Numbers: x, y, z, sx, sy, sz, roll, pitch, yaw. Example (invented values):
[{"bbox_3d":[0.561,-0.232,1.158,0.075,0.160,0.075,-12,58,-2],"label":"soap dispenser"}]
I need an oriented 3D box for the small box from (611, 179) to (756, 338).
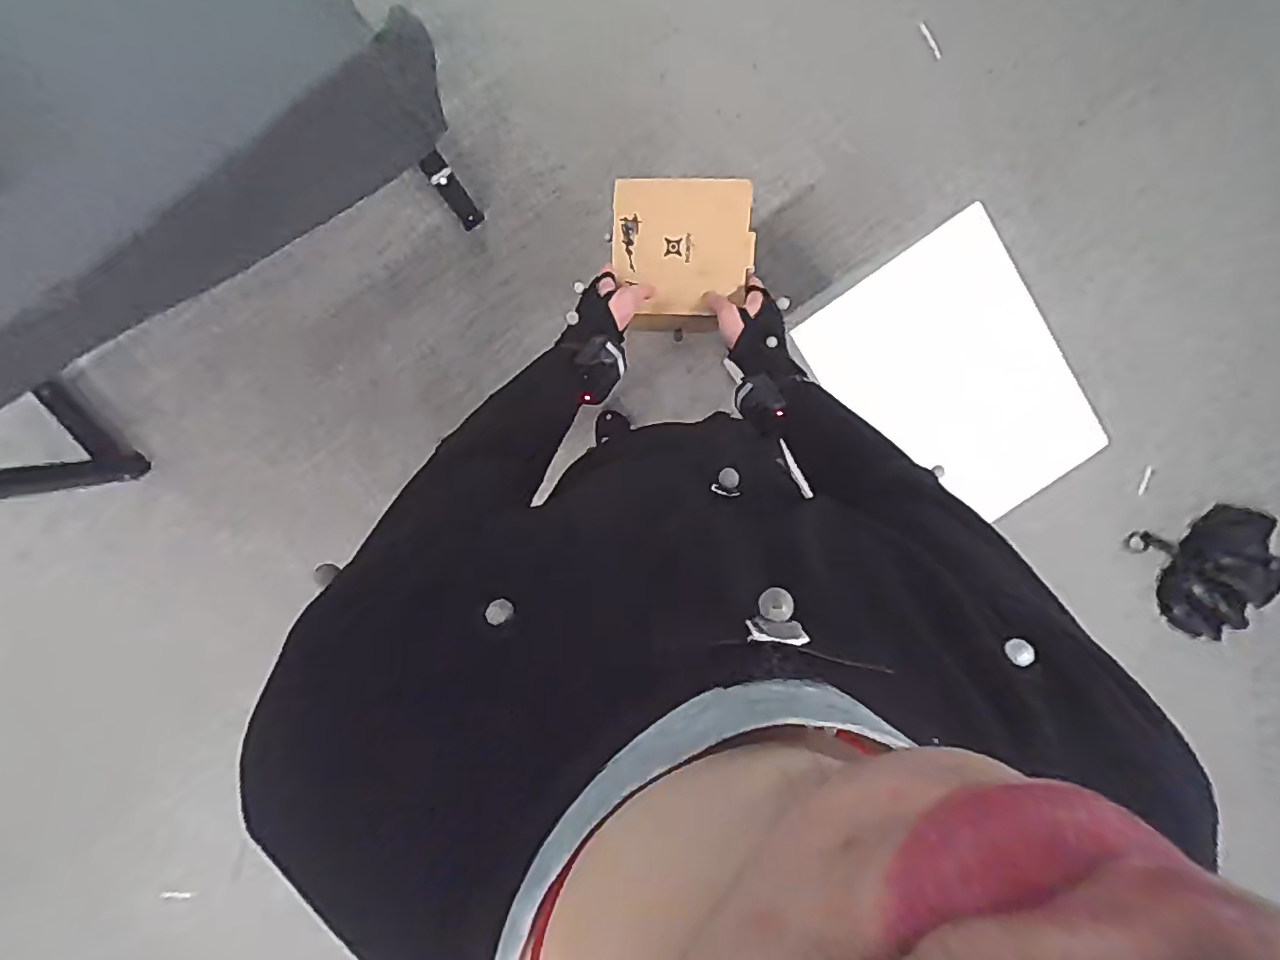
[{"bbox_3d":[0.053,-0.291,0.740,0.179,0.176,0.168,1,97,2],"label":"small box"}]
